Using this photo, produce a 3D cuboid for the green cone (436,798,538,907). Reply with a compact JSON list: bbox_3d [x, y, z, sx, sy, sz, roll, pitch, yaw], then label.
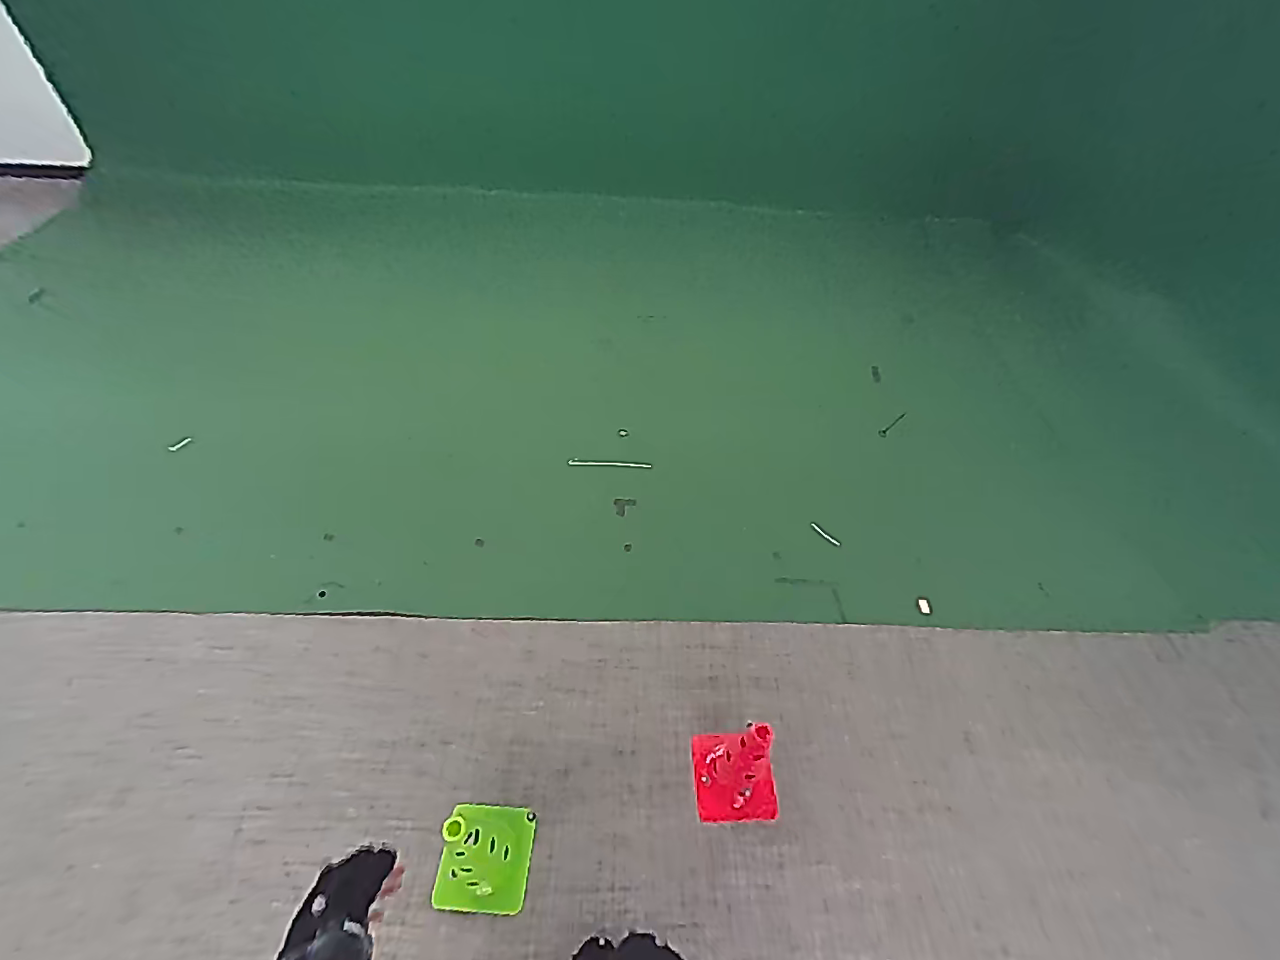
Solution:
[{"bbox_3d":[-0.339,0.734,1.103,0.200,0.368,0.202,3,50,0],"label":"green cone"}]
